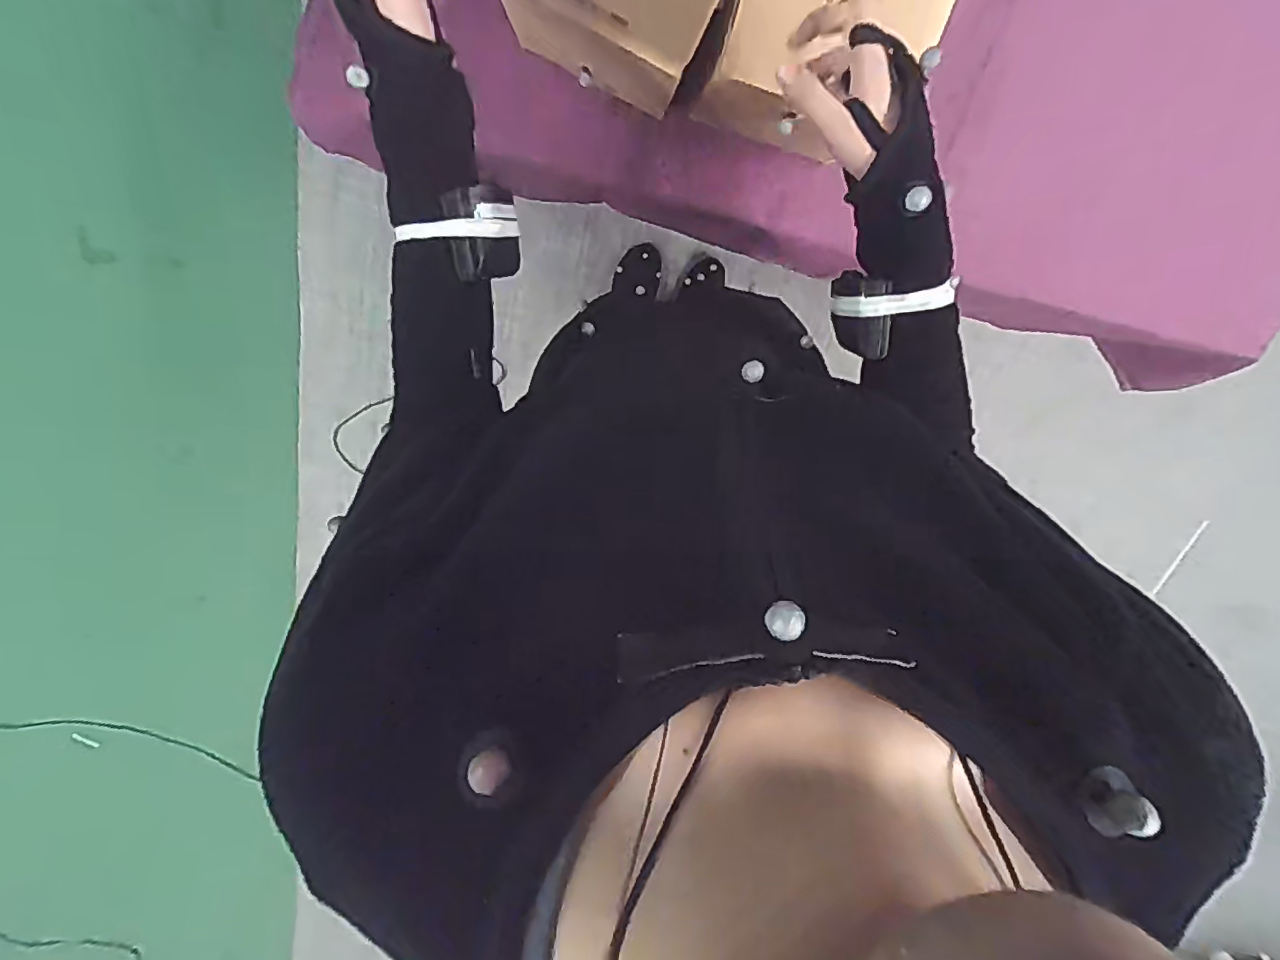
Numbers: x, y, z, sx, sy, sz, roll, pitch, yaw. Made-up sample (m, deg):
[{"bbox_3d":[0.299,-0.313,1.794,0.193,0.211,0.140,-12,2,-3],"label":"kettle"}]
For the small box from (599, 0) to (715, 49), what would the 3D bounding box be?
[{"bbox_3d":[0.004,-0.408,0.320,0.168,0.176,0.179,20,110,-12],"label":"small box"}]
